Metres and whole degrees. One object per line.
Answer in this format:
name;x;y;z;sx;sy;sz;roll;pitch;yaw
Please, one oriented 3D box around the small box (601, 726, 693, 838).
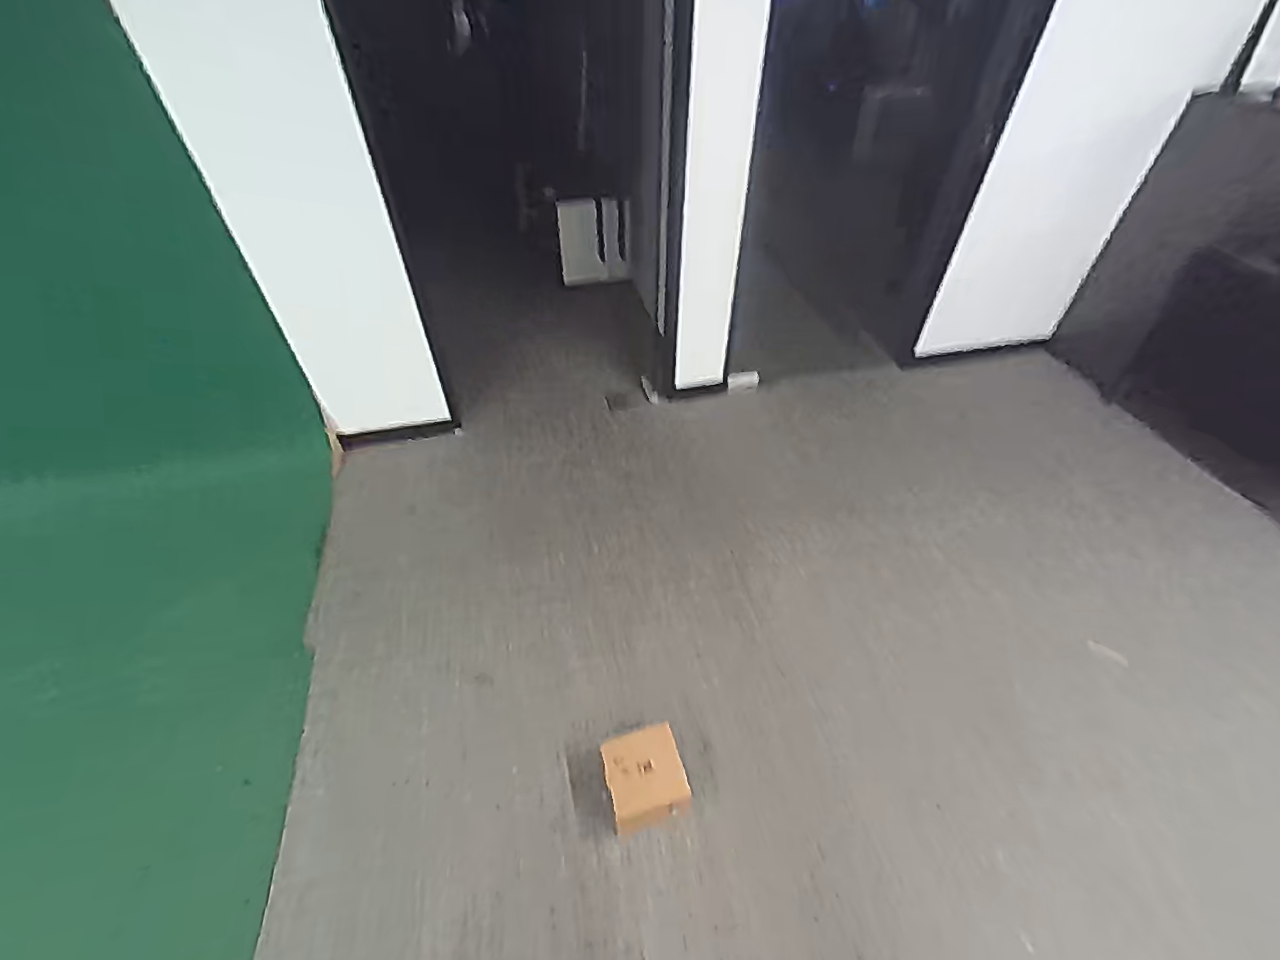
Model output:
small box;0.011;0.718;1.283;0.179;0.176;0.168;-12;46;-12
